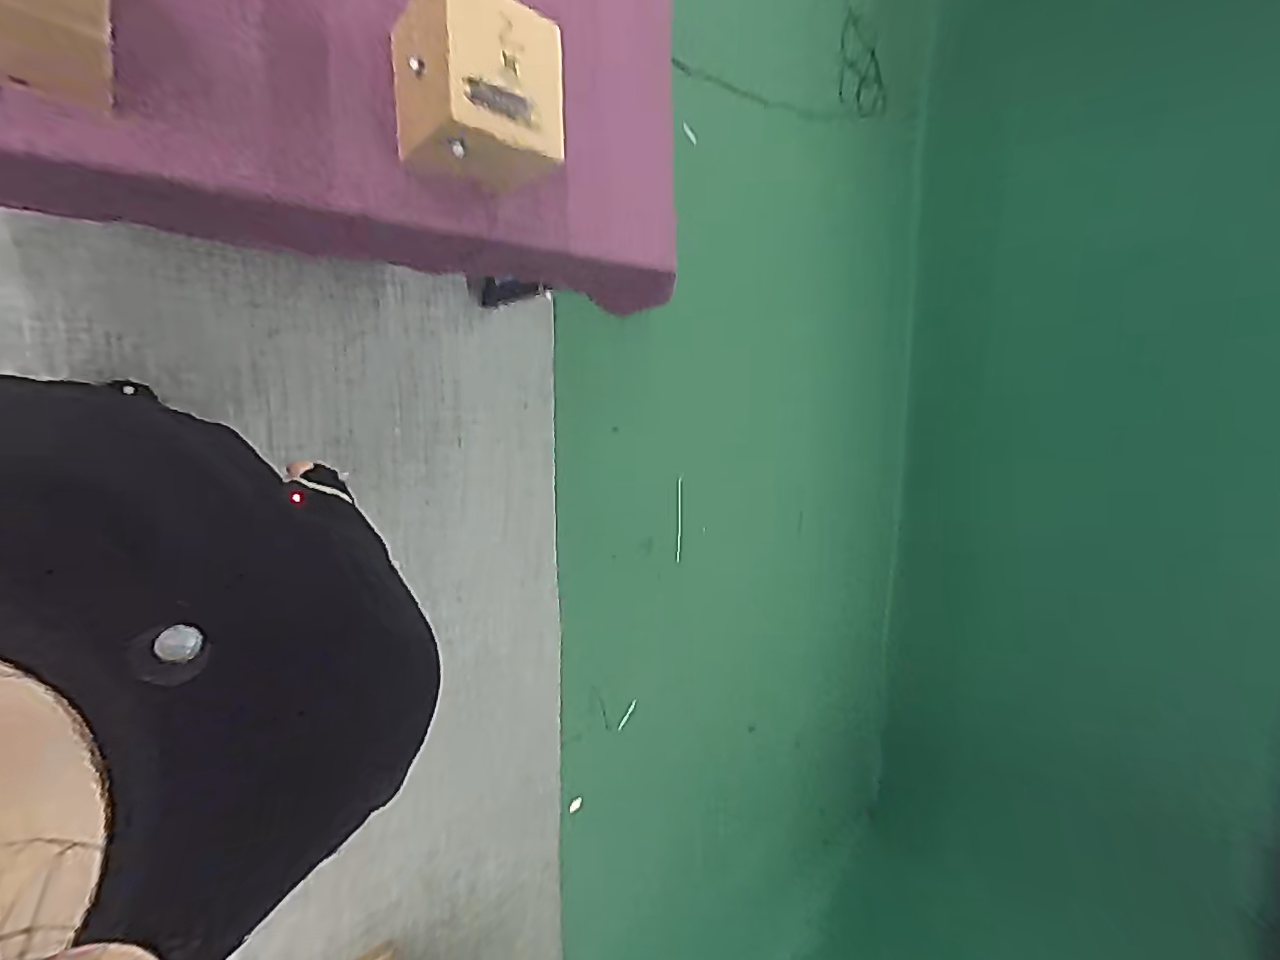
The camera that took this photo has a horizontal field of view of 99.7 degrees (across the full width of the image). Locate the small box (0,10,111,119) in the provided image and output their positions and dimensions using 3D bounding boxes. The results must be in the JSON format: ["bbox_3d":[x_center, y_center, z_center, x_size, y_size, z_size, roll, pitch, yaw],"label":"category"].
[{"bbox_3d":[-0.549,-0.443,0.439,0.168,0.176,0.179,-4,98,-43],"label":"small box"}]
